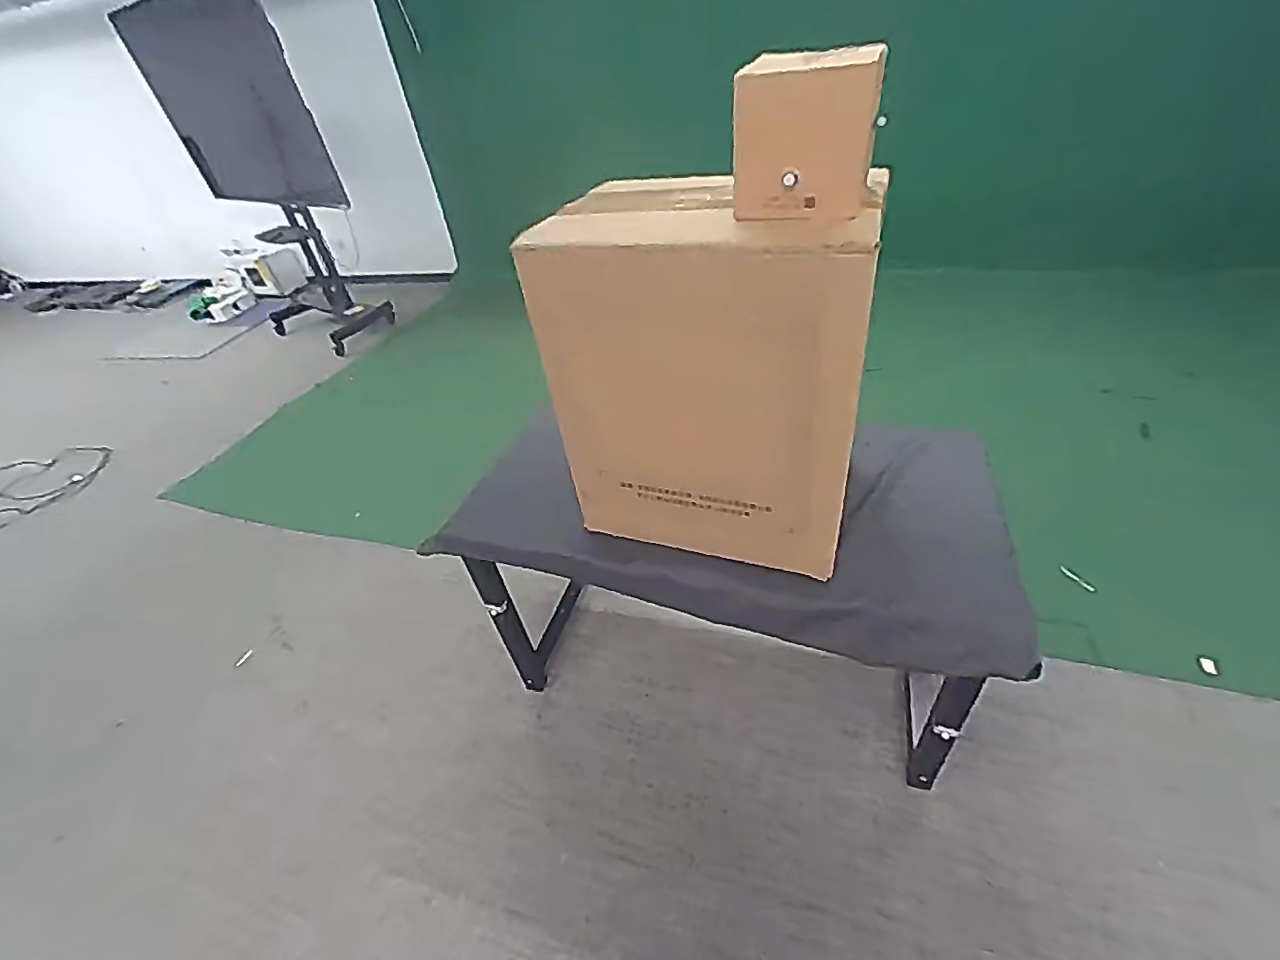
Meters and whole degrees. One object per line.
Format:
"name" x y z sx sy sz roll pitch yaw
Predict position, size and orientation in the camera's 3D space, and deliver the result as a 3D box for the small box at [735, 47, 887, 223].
"small box" 0.228 -0.469 0.738 0.168 0.176 0.179 10 46 20
